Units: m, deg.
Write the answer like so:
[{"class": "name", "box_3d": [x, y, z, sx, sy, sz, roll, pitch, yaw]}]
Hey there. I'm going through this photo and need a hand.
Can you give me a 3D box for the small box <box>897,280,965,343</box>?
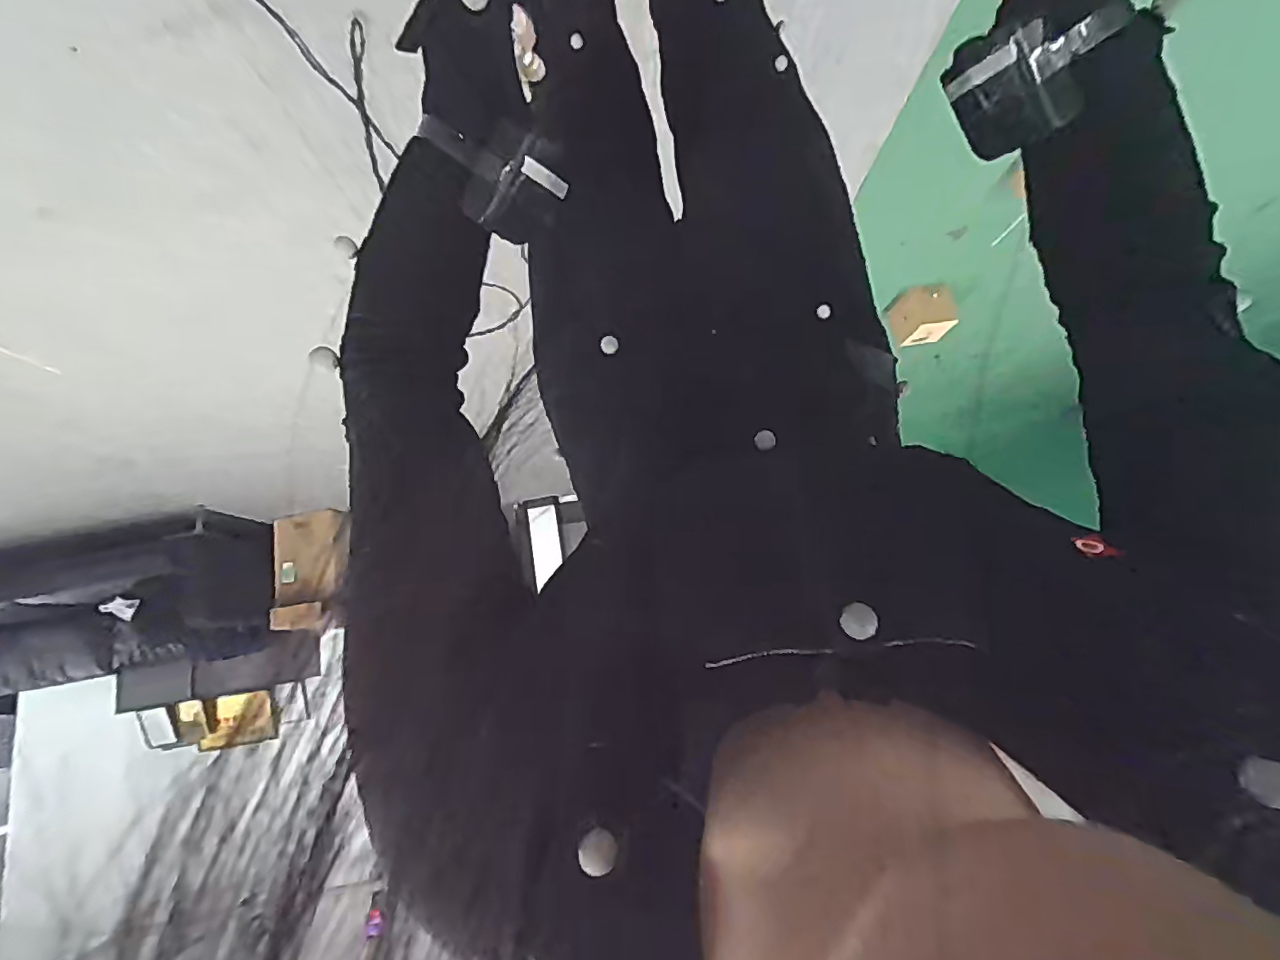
[{"class": "small box", "box_3d": [1.168, -0.680, 2.185, 0.168, 0.176, 0.179, -10, 167, -3]}]
